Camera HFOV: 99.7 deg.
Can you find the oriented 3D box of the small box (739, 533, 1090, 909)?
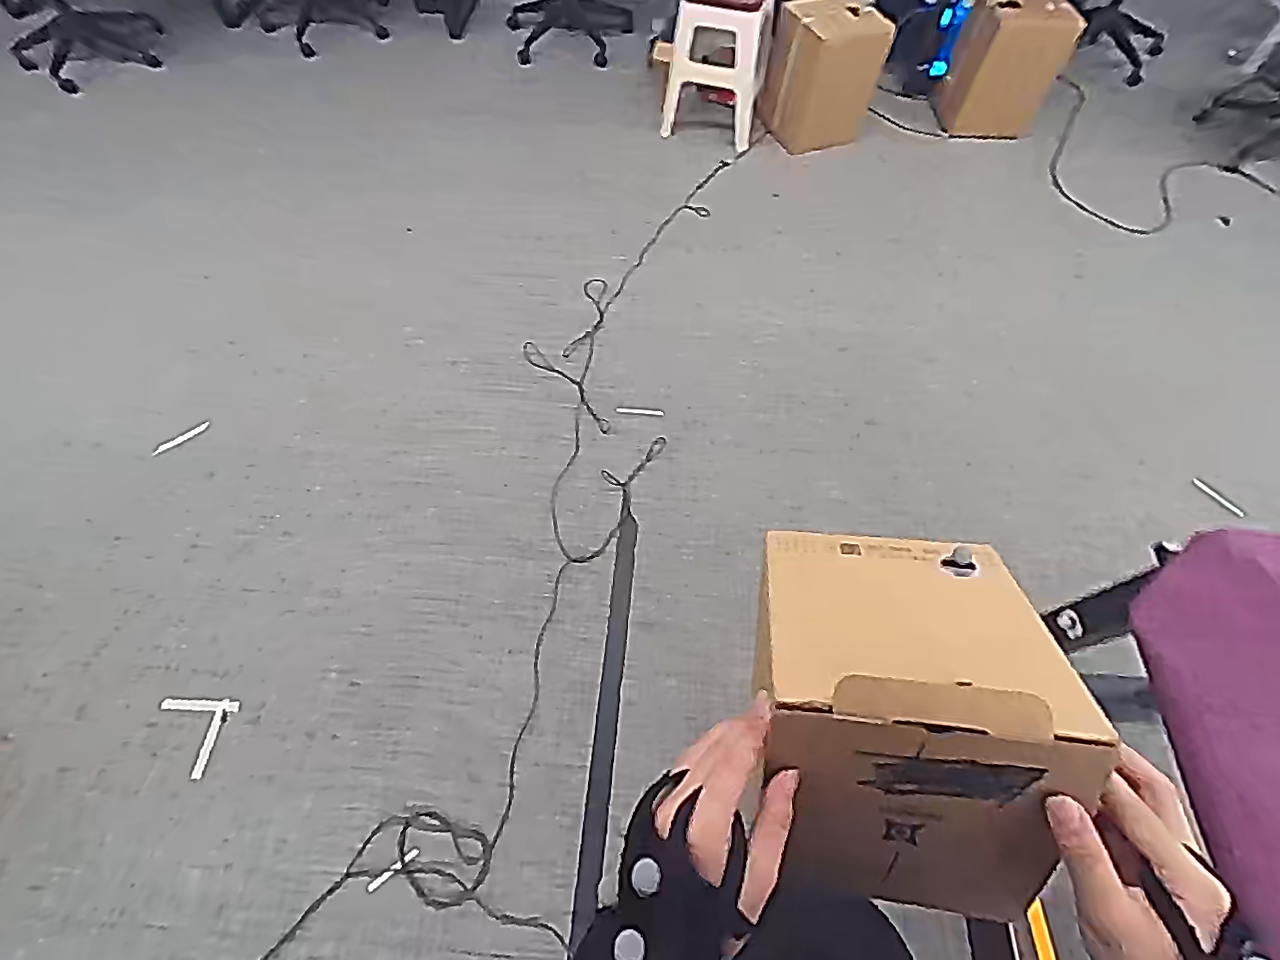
[{"bbox_3d":[0.158,0.154,0.386,0.168,0.179,0.176,3,28,10],"label":"small box"}]
